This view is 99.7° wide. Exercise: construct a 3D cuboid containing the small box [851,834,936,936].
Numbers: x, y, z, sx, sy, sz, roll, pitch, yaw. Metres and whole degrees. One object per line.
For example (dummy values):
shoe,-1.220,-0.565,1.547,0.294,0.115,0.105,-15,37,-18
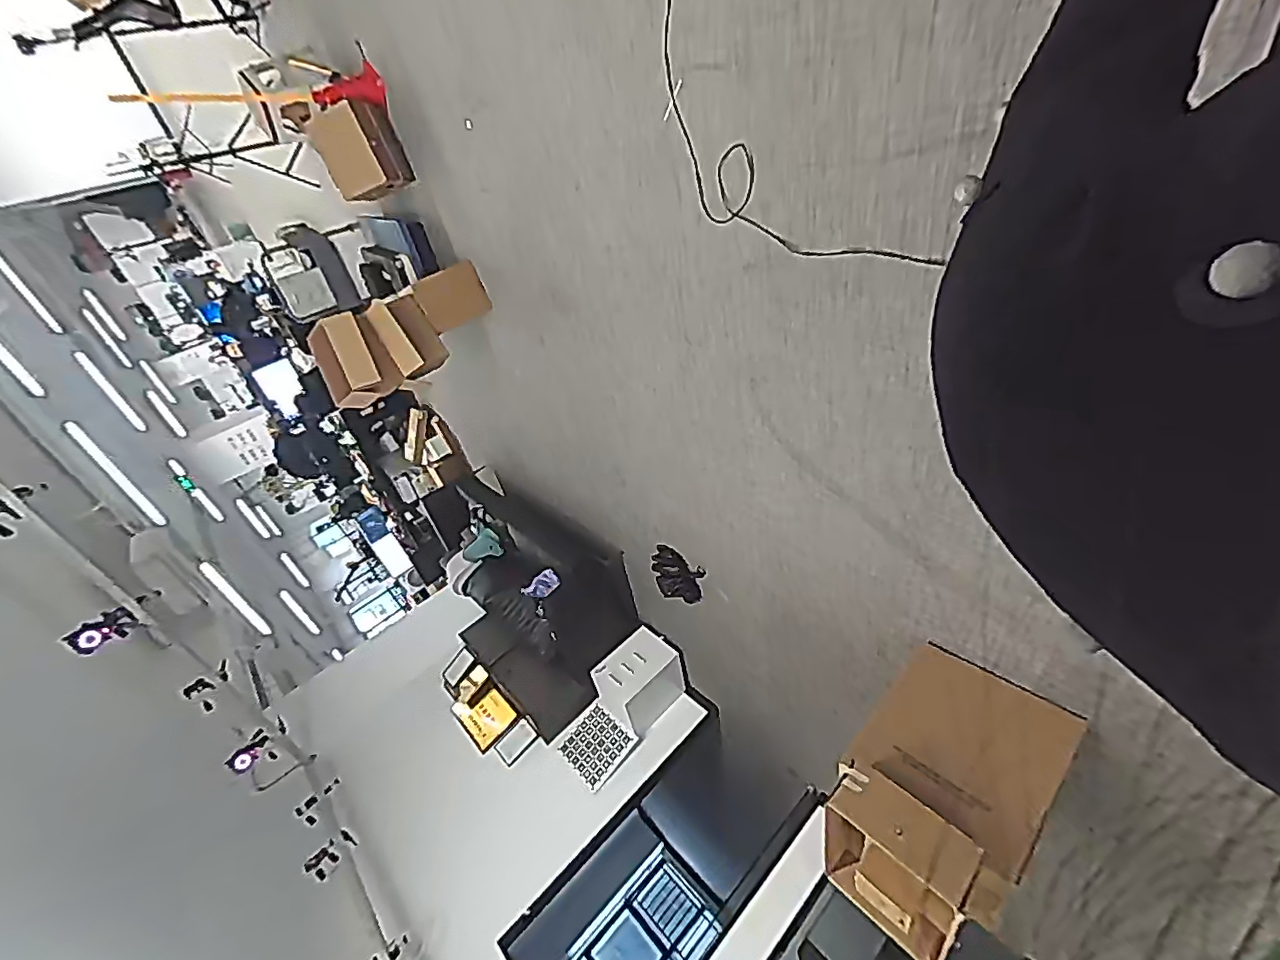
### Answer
small box,0.780,1.239,1.671,0.179,0.176,0.168,27,144,44
